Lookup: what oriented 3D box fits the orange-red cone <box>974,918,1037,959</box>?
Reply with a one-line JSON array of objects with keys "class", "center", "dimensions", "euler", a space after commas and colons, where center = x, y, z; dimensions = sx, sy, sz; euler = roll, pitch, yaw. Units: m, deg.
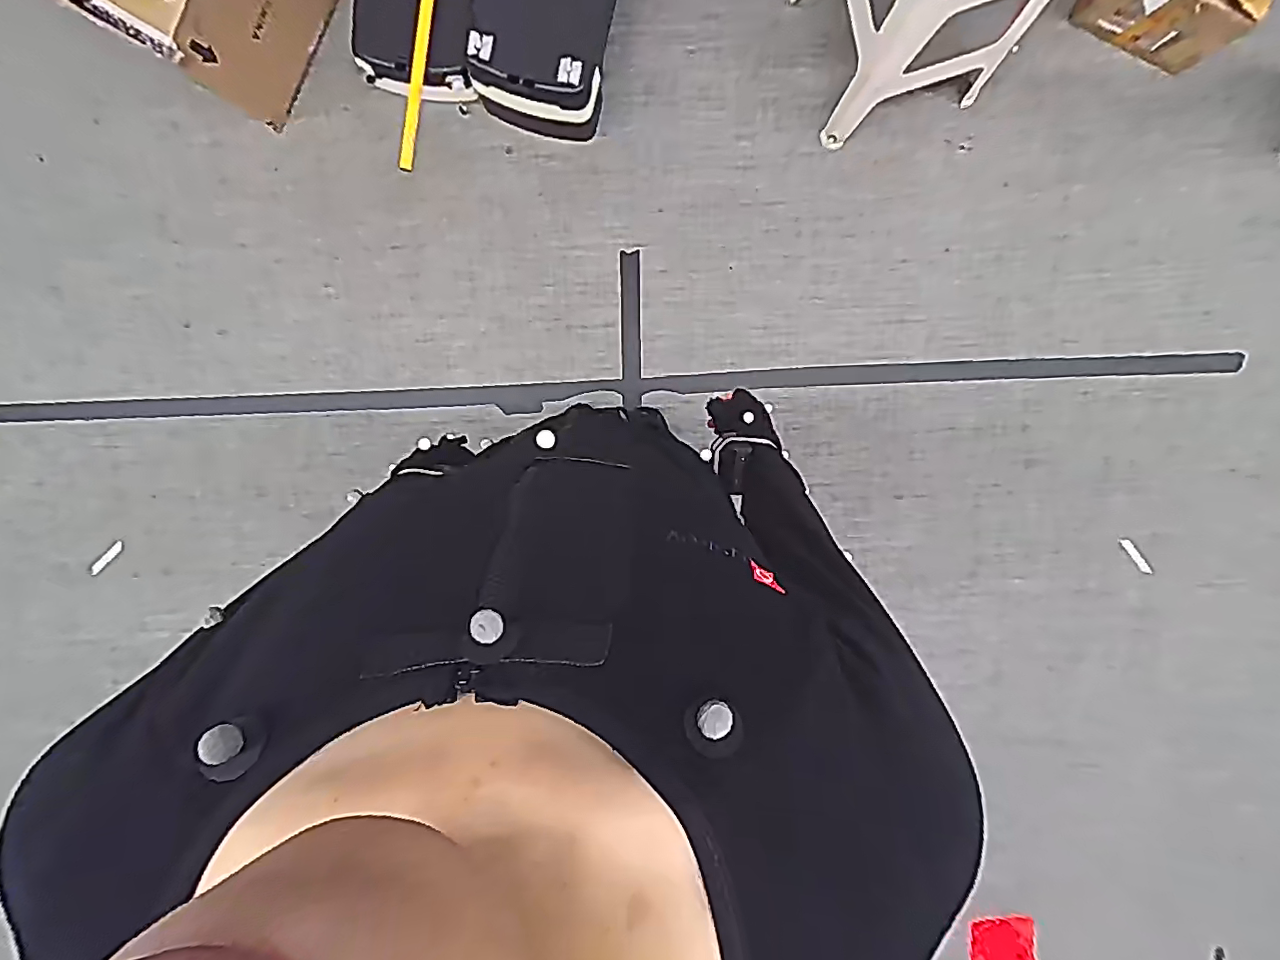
[{"class": "orange-red cone", "center": [1.144, 1.487, 1.525], "dimensions": [0.198, 0.360, 0.199], "euler": [-6, 98, 1]}]
